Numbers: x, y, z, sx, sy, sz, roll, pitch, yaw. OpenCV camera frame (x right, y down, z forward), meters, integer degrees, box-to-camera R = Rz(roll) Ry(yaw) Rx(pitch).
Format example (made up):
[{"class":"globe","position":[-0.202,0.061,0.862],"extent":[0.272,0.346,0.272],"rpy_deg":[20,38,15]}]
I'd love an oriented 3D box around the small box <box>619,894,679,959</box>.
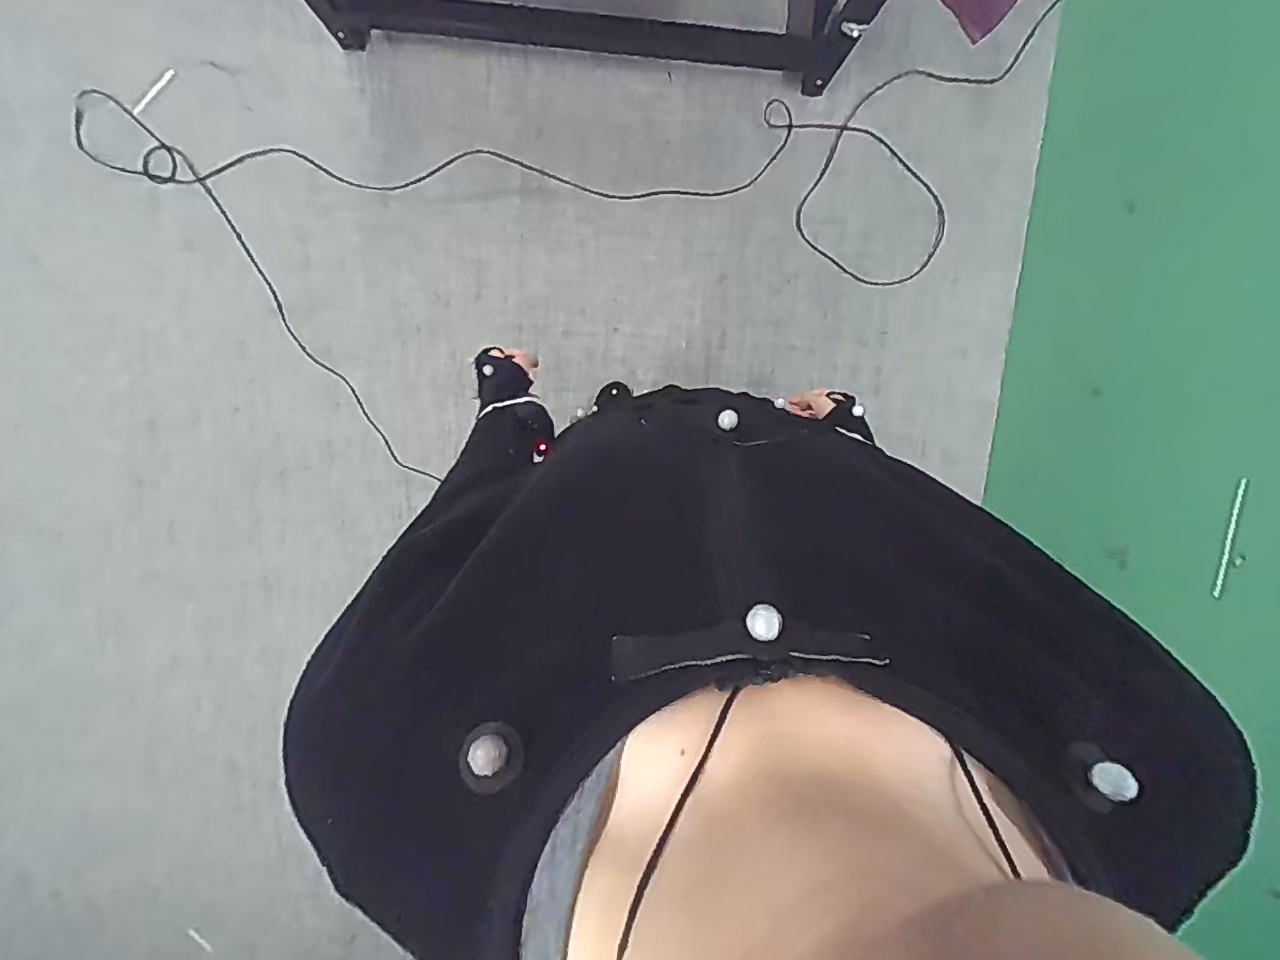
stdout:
[{"class":"small box","position":[0.024,1.411,1.650],"extent":[0.179,0.176,0.168],"rpy_deg":[-2,100,-4]}]

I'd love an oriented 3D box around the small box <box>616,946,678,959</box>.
[{"class":"small box","position":[0.027,1.432,1.486],"extent":[0.179,0.176,0.168],"rpy_deg":[-3,99,-3]}]
